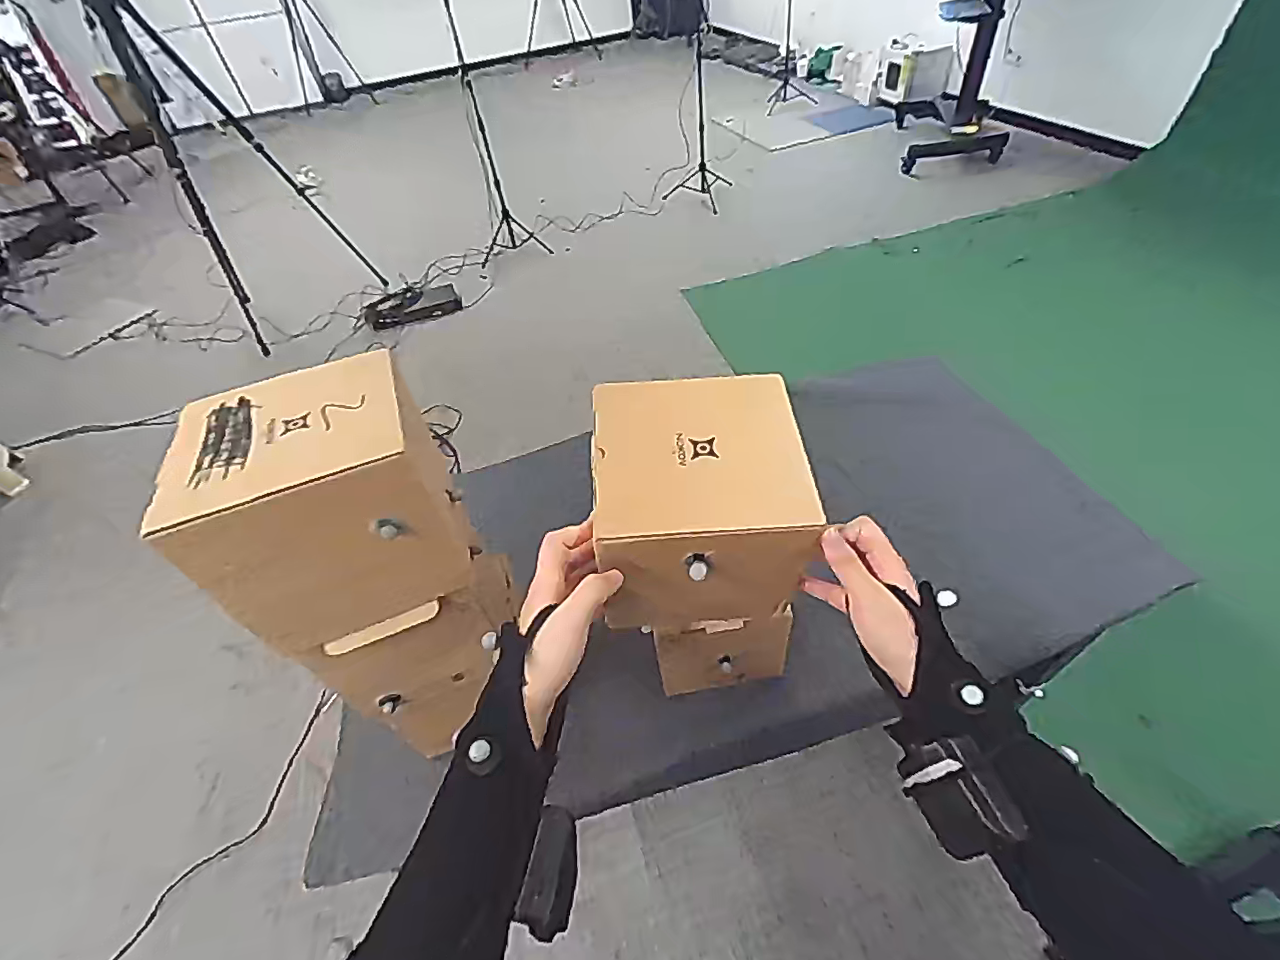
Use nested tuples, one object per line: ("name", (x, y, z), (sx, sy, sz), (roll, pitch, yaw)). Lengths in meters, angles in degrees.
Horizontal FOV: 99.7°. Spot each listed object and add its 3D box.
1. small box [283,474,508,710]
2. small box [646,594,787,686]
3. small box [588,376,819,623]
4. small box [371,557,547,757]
("small box", (-0.261, 0.130, 0.603), (0.168, 0.176, 0.179), (-21, 46, -11))
("small box", (0.092, 0.163, 0.737), (0.168, 0.176, 0.179), (-11, 47, 0))
("small box", (0.047, 0.024, 0.512), (0.179, 0.176, 0.168), (-5, 53, 0))
("small box", (-0.232, 0.238, 0.725), (0.179, 0.176, 0.168), (-19, 46, -7))
